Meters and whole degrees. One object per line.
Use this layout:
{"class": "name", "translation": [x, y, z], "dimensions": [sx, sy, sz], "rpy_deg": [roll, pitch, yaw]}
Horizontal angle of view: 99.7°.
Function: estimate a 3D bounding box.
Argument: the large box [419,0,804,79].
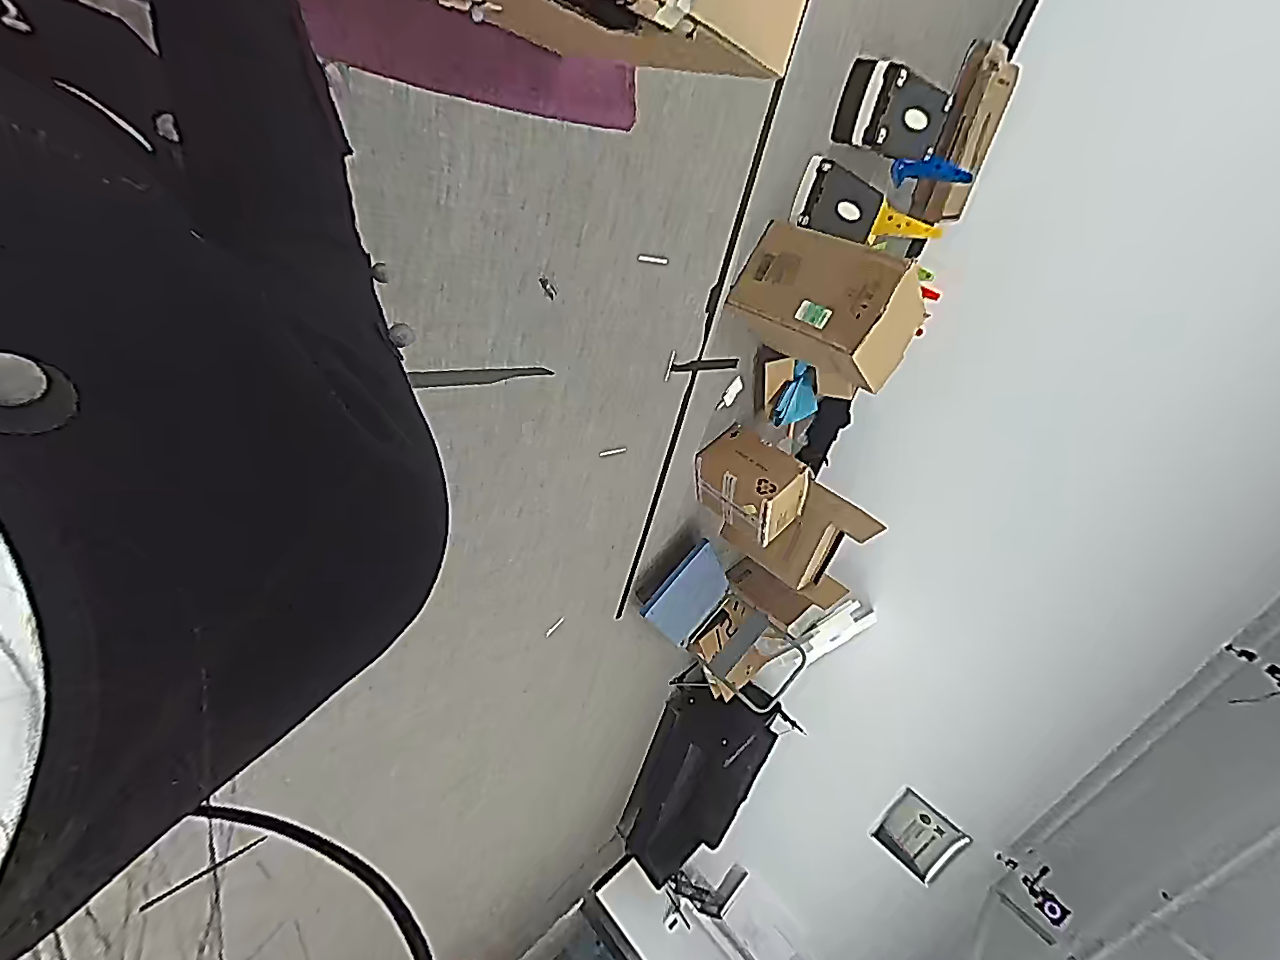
{"class": "large box", "translation": [-0.041, -0.558, 0.362], "dimensions": [0.320, 0.320, 0.408], "rpy_deg": [-17, 131, -45]}
